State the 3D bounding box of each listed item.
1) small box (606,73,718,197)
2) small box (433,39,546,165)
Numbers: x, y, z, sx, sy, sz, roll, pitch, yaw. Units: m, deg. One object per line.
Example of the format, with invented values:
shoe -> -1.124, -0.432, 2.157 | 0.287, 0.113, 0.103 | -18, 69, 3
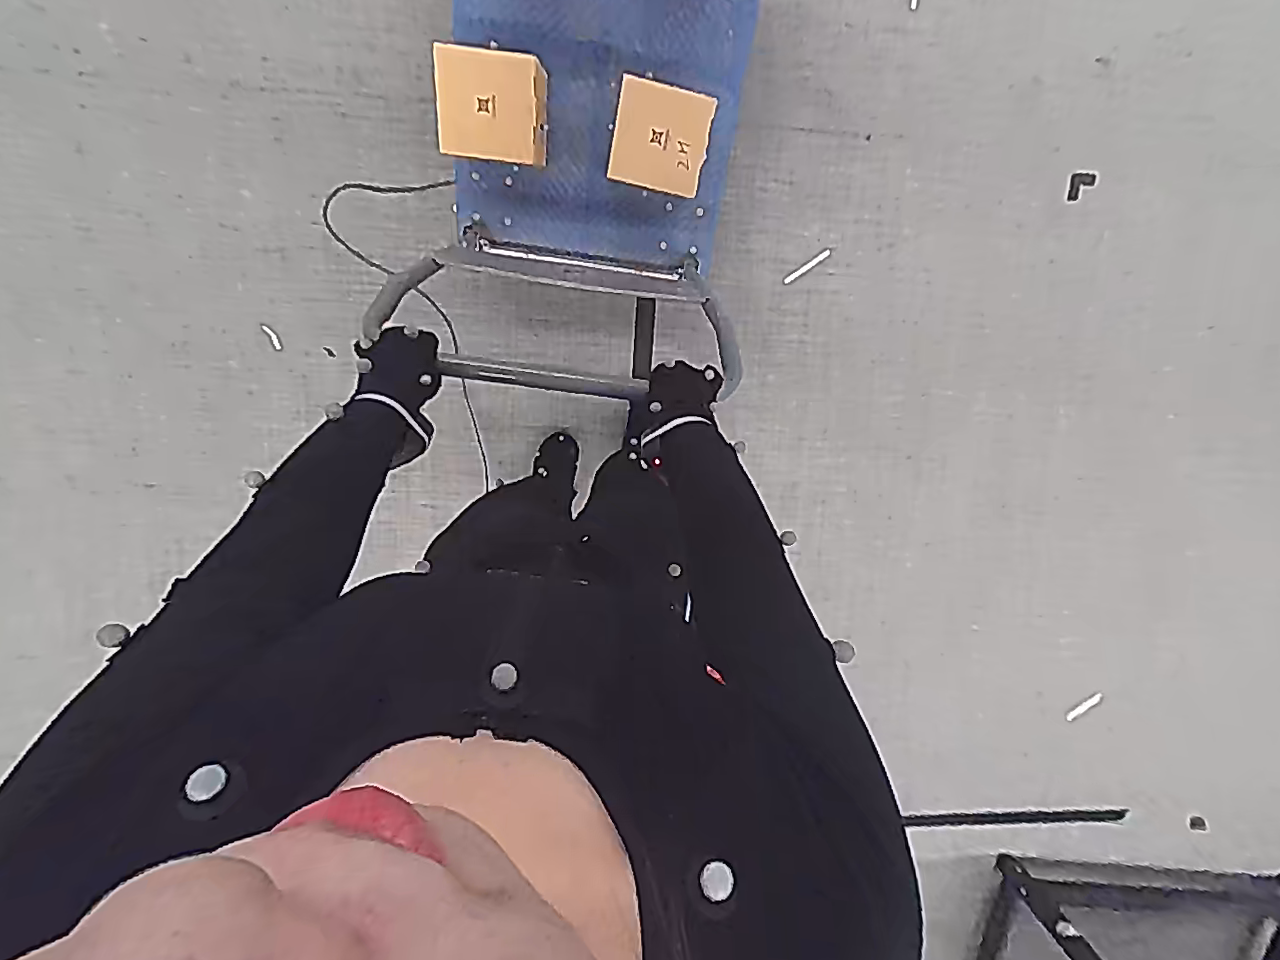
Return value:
small box -> 0.035, -0.665, 1.062 | 0.179, 0.176, 0.168 | 11, 118, -8
small box -> -0.278, -0.705, 1.029 | 0.179, 0.176, 0.168 | 3, 118, -6
